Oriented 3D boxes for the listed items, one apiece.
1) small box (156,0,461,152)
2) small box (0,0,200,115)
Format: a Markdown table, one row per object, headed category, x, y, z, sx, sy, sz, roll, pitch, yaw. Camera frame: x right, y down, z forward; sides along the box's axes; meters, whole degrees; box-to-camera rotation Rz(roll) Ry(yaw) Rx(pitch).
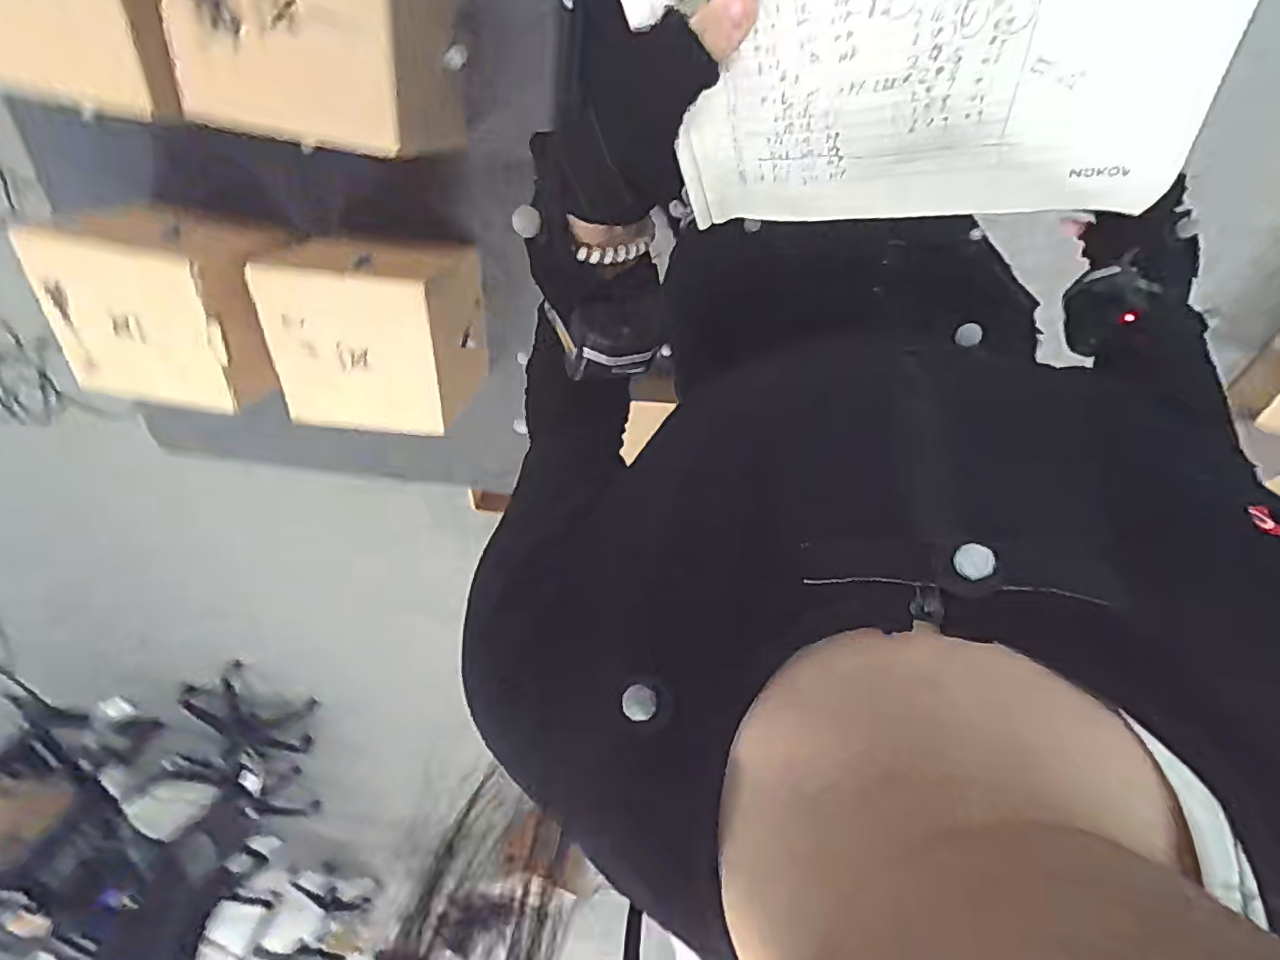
| category | x | y | z | sx | sy | sz | roll | pitch | yaw |
| --- | --- | --- | --- | --- | --- | --- | --- | --- | --- |
| small box | -0.270 | -0.396 | 0.467 | 0.179 | 0.176 | 0.168 | 10 | 124 | -2 |
| small box | -0.472 | -0.428 | 0.466 | 0.179 | 0.176 | 0.168 | 10 | 125 | -3 |
